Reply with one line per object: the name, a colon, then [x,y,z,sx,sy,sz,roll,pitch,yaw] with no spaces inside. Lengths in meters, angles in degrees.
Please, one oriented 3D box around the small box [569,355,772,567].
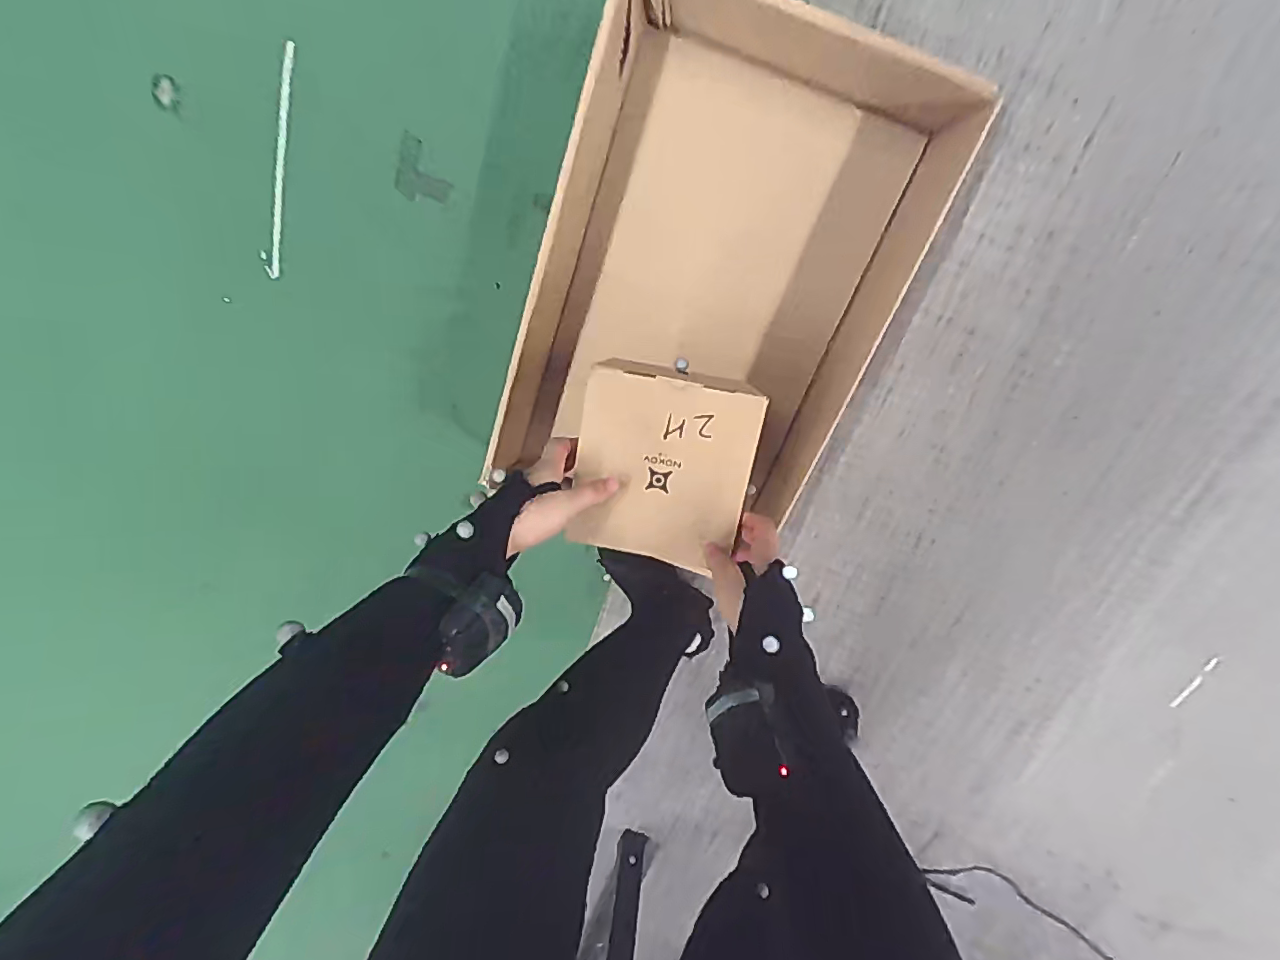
small box: [0.029,-0.032,0.585,0.168,0.176,0.179,11,104,-1]
